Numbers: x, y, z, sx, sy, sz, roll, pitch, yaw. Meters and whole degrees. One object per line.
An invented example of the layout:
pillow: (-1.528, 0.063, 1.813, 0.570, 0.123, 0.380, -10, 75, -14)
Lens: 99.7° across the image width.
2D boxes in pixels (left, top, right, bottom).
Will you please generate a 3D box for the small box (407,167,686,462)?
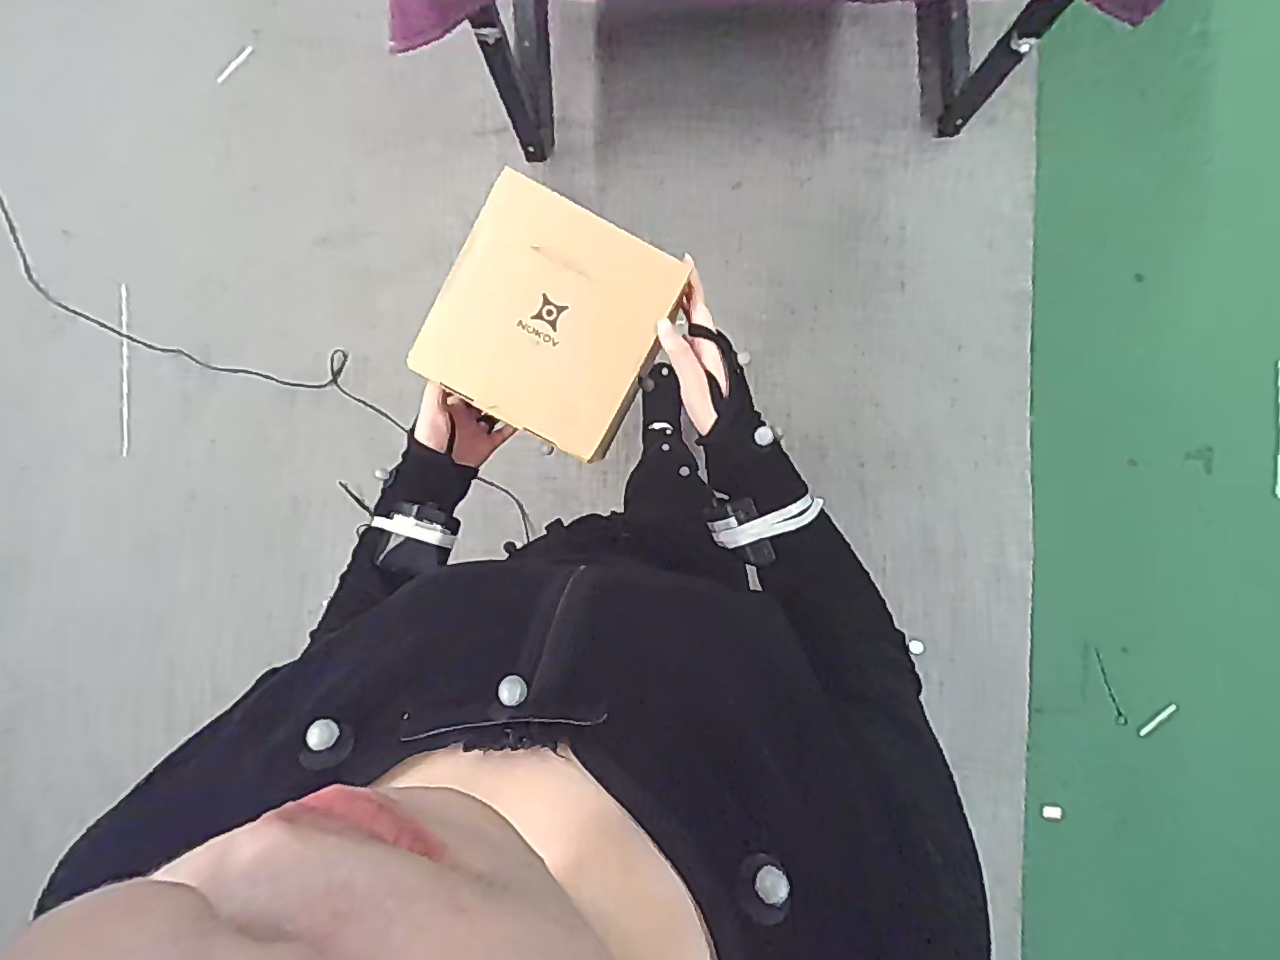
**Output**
small box: (-0.072, -0.132, 0.500, 0.168, 0.176, 0.179, 28, 93, -2)
